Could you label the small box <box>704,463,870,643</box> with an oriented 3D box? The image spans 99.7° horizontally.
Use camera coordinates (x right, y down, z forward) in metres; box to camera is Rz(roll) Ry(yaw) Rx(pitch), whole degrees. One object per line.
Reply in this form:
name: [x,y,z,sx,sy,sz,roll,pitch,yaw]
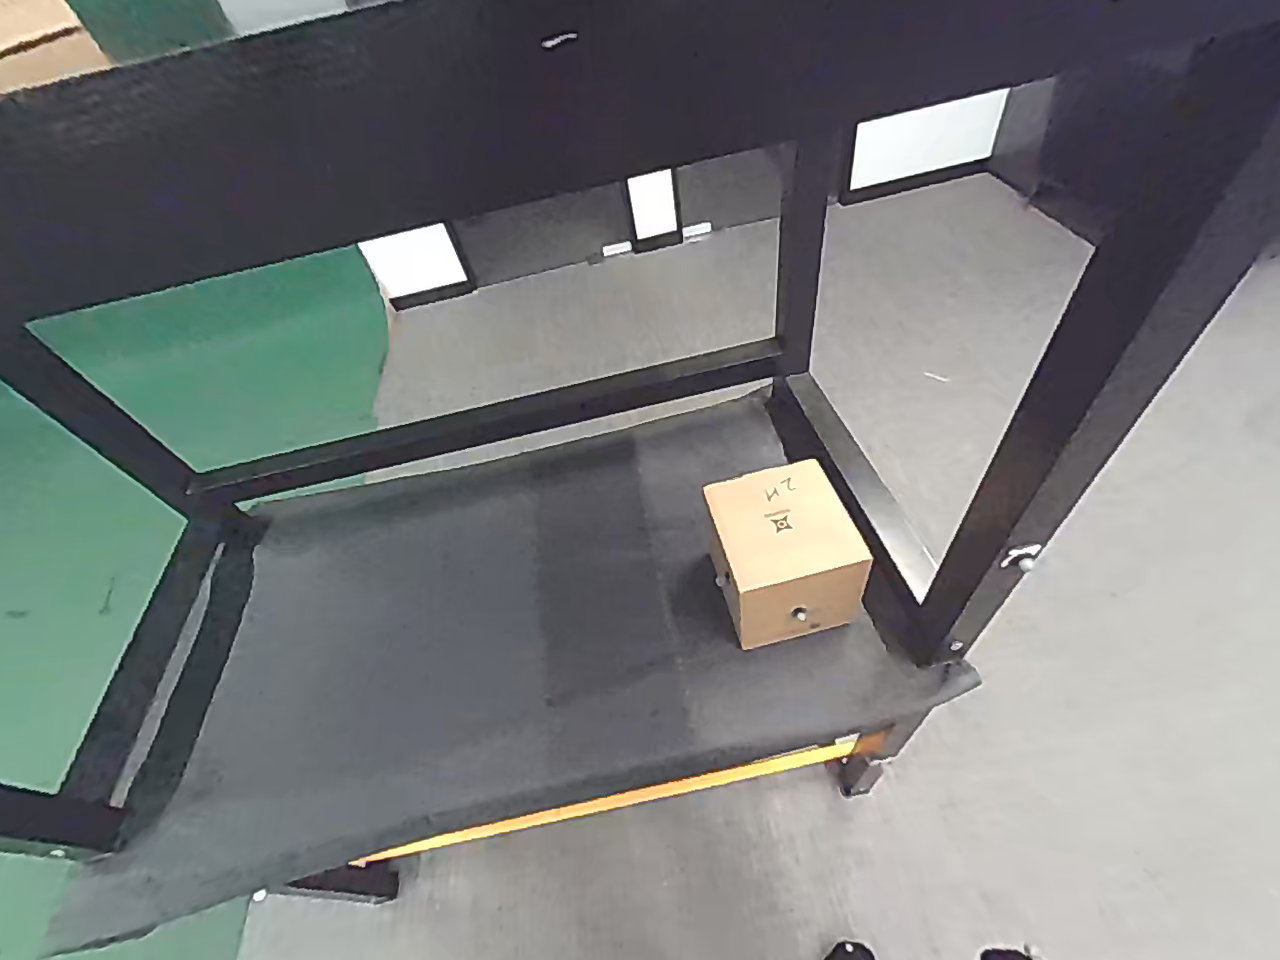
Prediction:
small box: [0.196,0.110,0.758,0.168,0.176,0.179,-14,48,-1]
